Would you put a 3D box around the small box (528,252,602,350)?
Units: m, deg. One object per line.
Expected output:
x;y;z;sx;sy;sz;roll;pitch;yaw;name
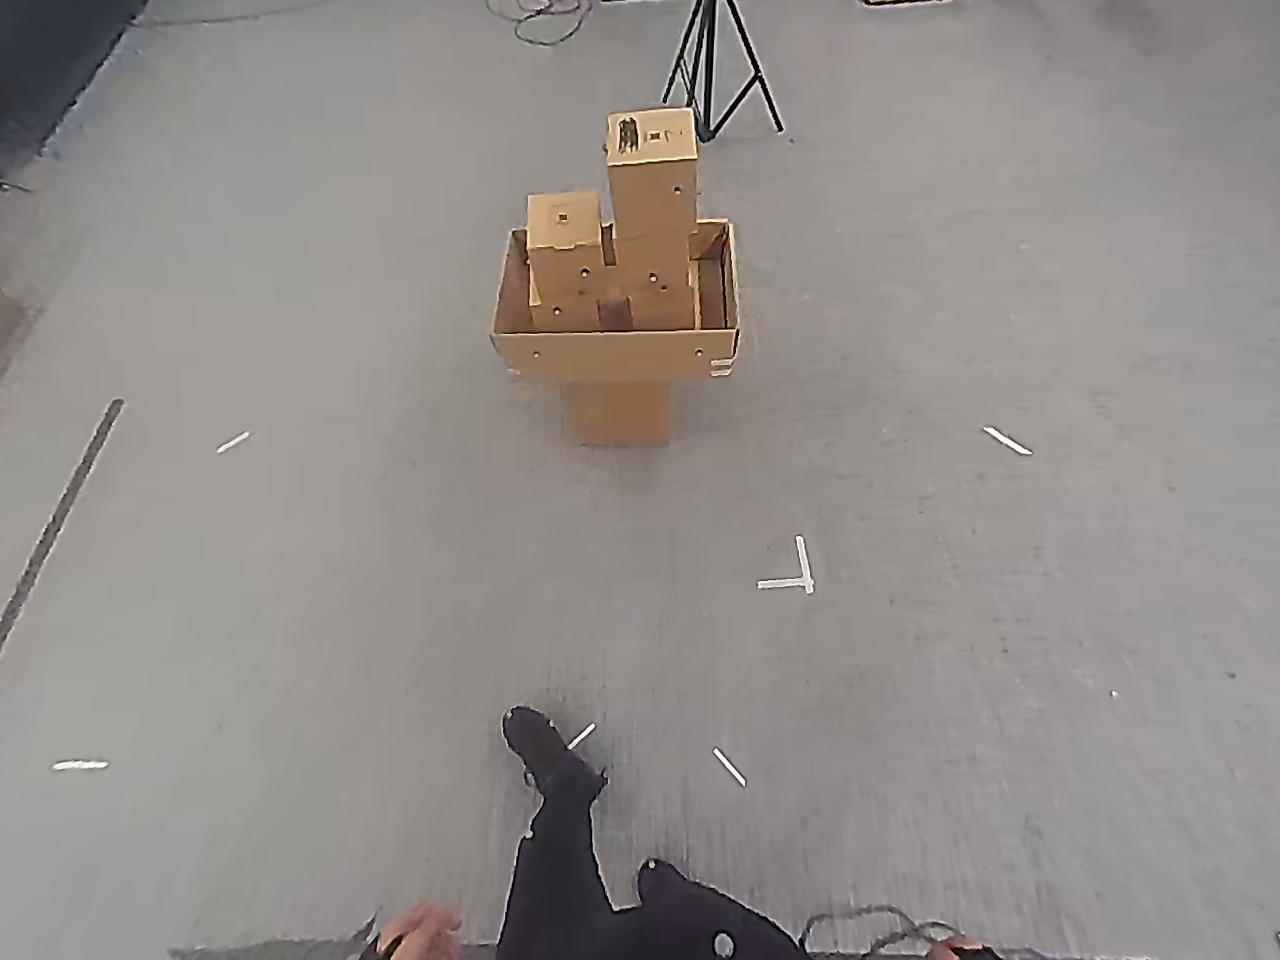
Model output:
-0.193;-0.469;1.426;0.168;0.176;0.179;-5;63;1;small box
